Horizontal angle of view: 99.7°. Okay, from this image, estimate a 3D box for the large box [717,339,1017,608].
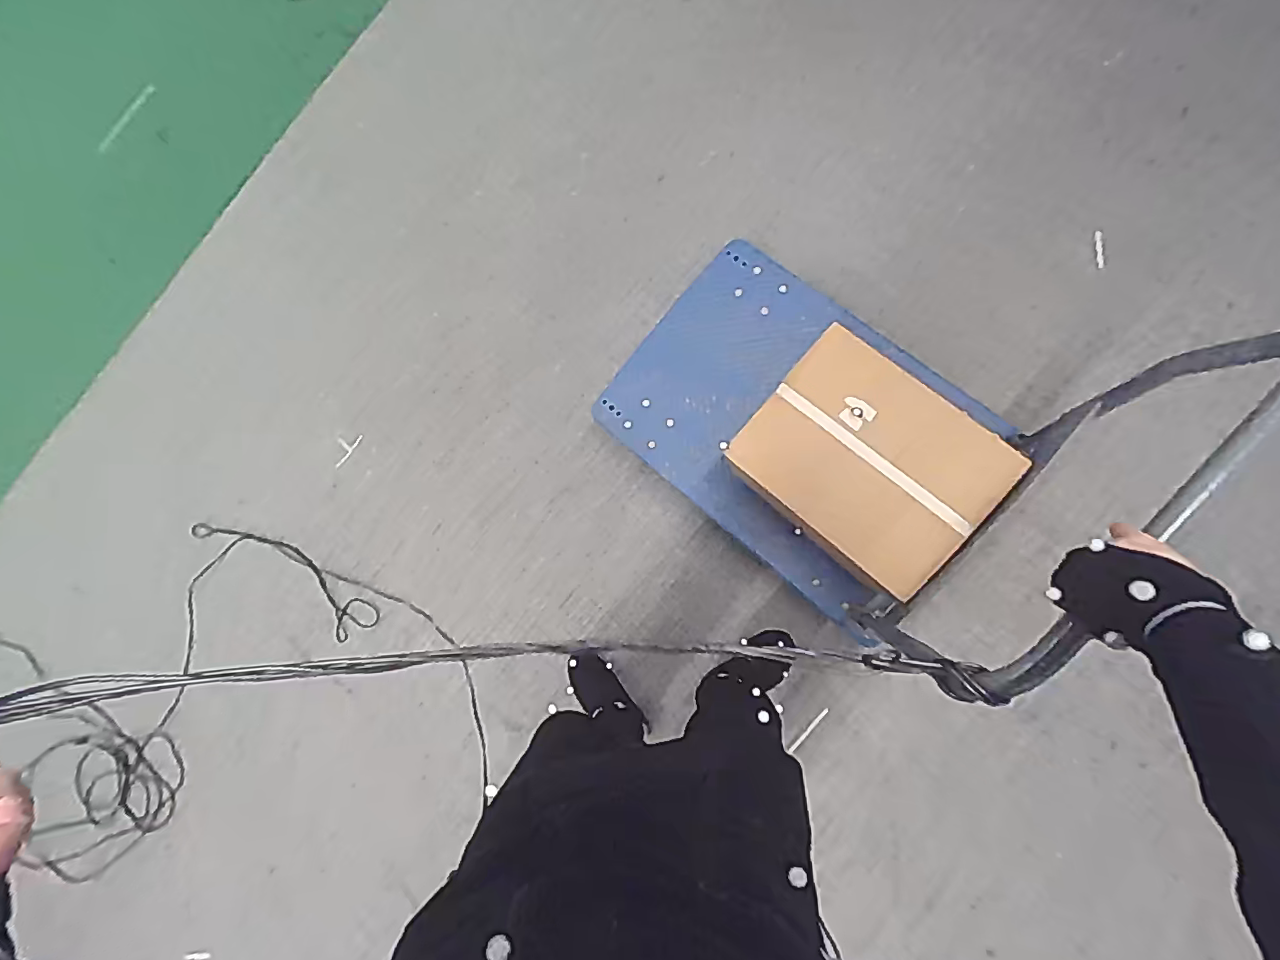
[{"bbox_3d":[0.417,-0.003,1.090,0.408,0.320,0.320,42,93,14],"label":"large box"}]
